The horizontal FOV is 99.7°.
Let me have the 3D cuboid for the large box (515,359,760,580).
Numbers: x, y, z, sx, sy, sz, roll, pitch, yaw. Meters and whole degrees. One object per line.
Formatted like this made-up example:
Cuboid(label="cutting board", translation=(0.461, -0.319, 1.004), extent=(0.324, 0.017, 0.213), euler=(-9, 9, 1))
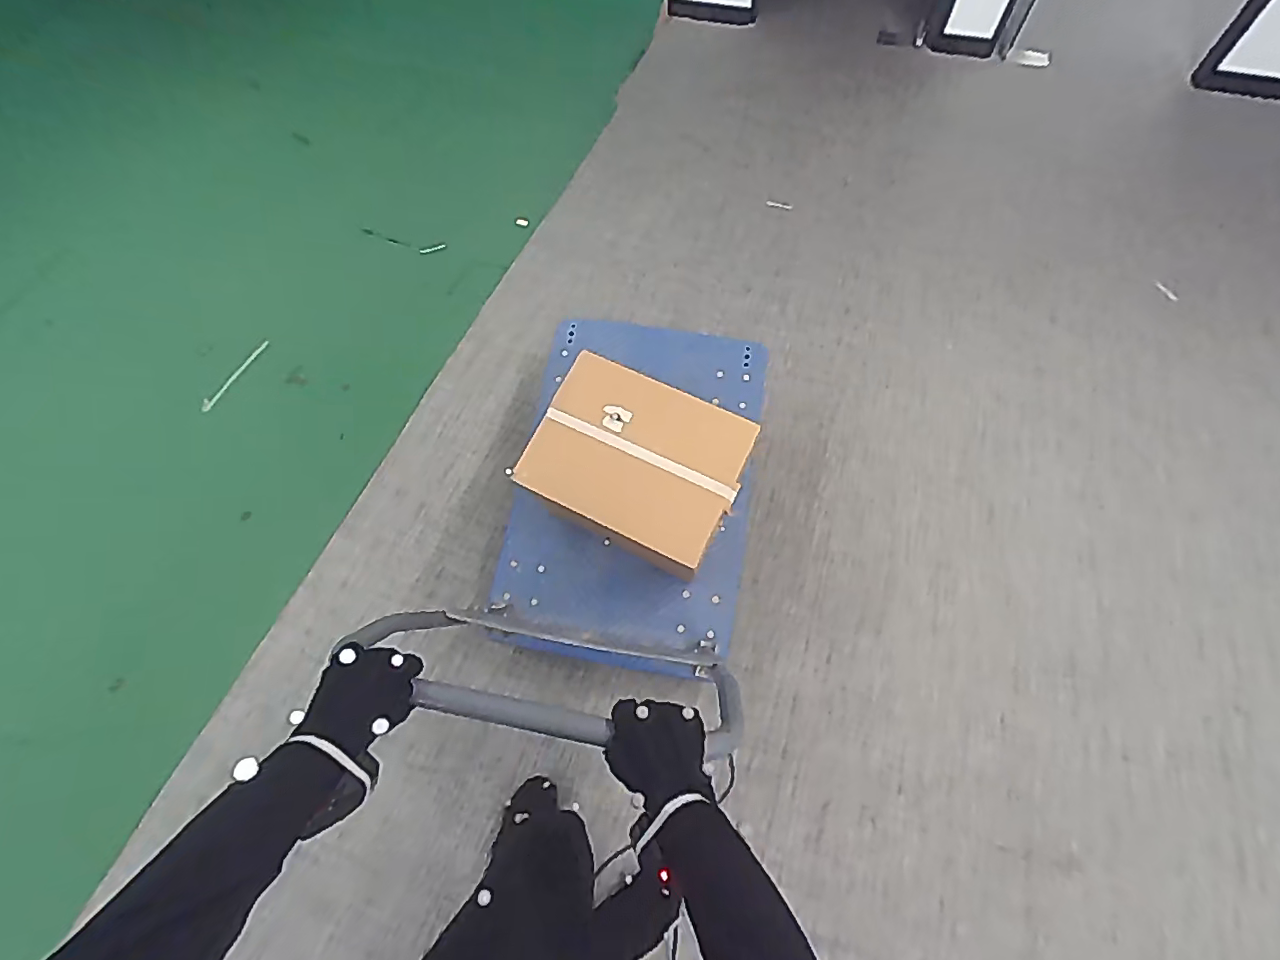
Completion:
Cuboid(label="large box", translation=(0.009, -0.006, 1.198), extent=(0.408, 0.320, 0.320), euler=(24, 78, 11))
